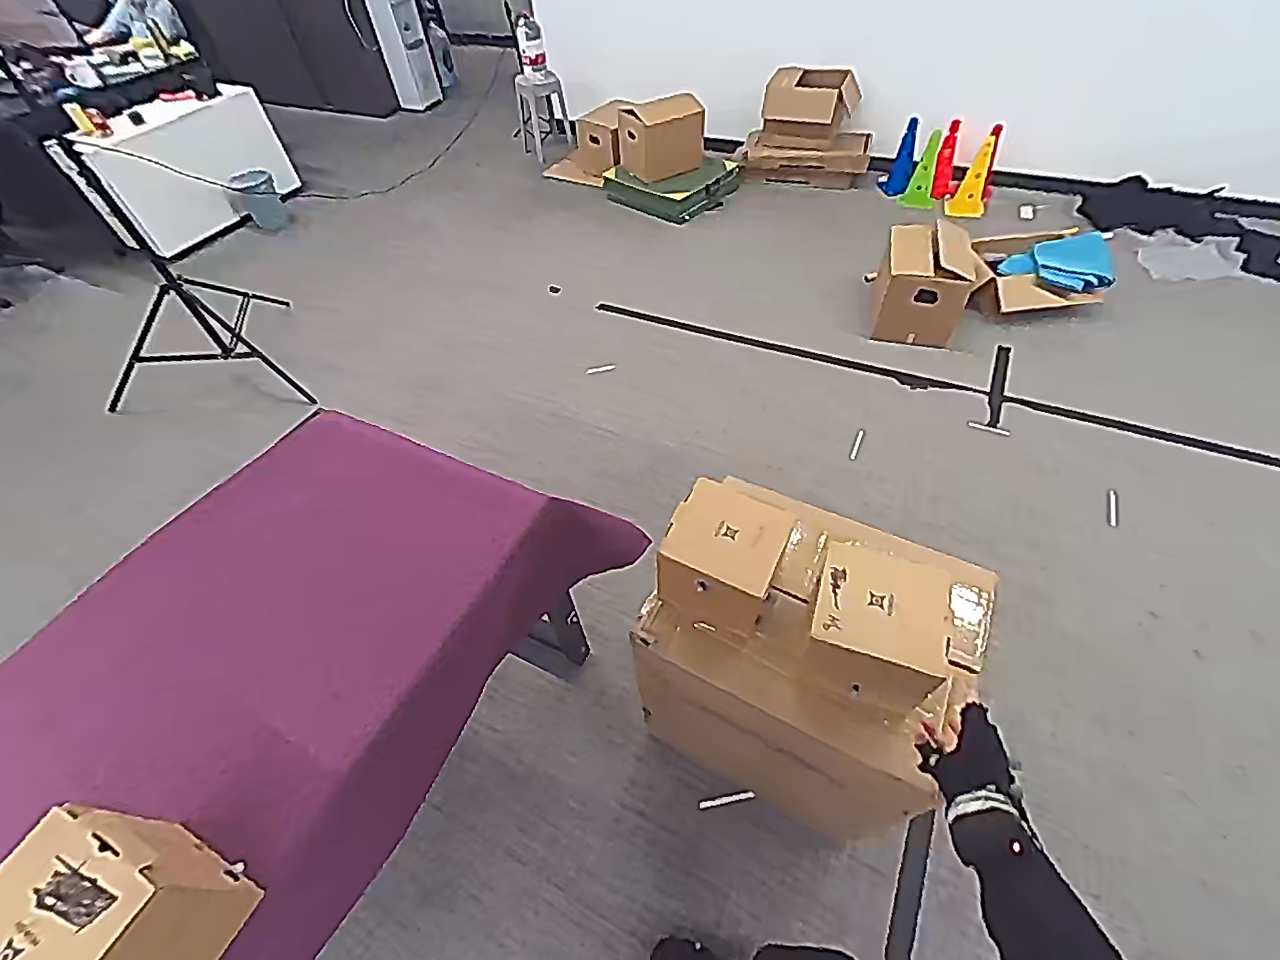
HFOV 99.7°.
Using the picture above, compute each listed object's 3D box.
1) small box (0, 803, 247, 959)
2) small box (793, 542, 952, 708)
[{"bbox_3d":[-0.553,0.471,0.551,0.168,0.176,0.179,18,55,19],"label":"small box"},{"bbox_3d":[0.346,0.226,0.822,0.179,0.176,0.168,15,54,17],"label":"small box"}]
